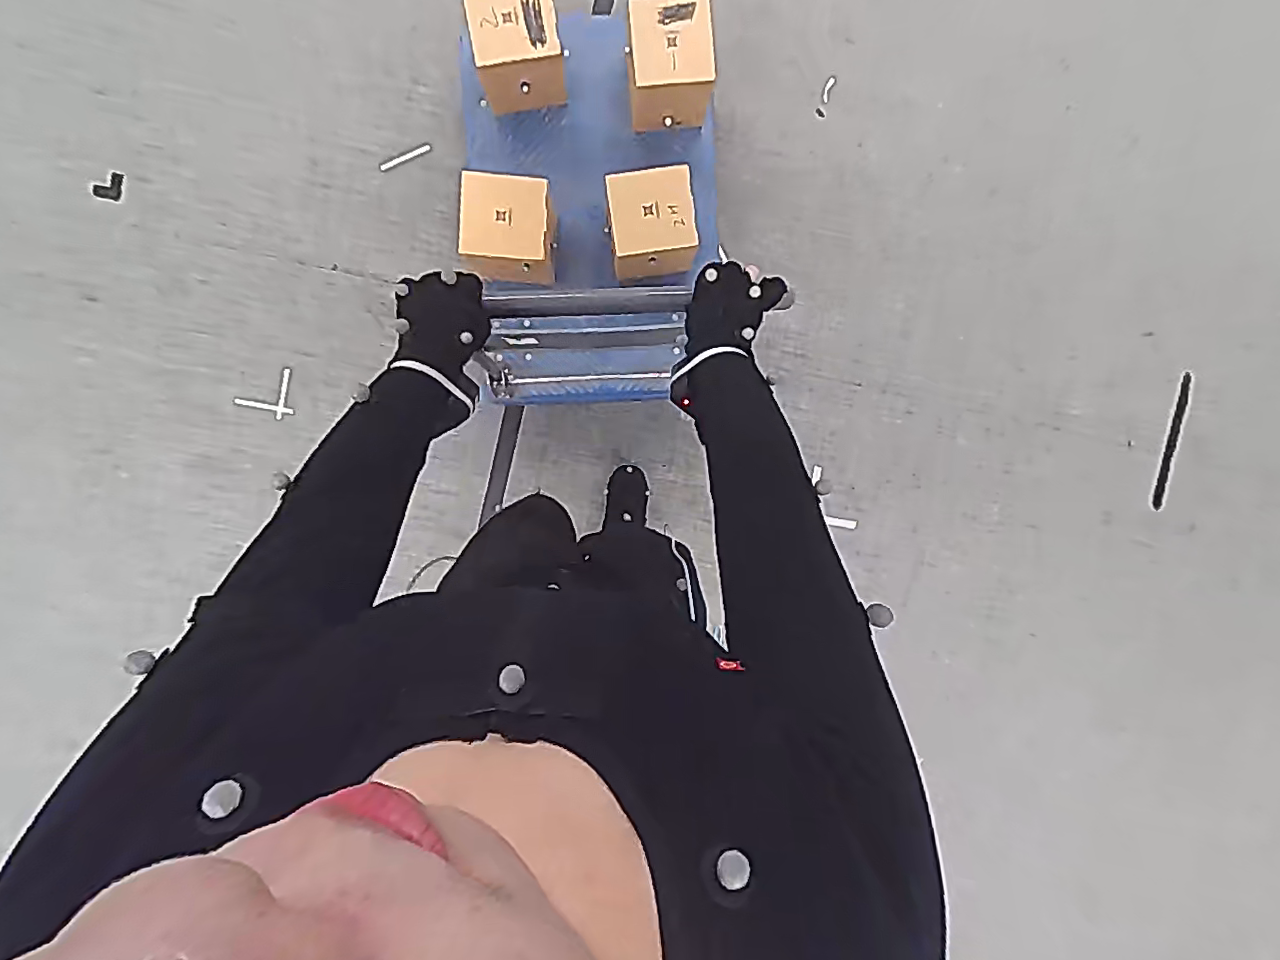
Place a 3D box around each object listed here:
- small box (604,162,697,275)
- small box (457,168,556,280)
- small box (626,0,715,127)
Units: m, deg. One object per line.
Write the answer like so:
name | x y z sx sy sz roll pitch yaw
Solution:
small box | 0.021 -0.561 1.182 0.179 0.176 0.168 -8 95 -1
small box | -0.283 -0.545 1.174 0.179 0.176 0.168 3 94 -4
small box | 0.060 -0.898 1.159 0.168 0.176 0.179 -6 96 -1
